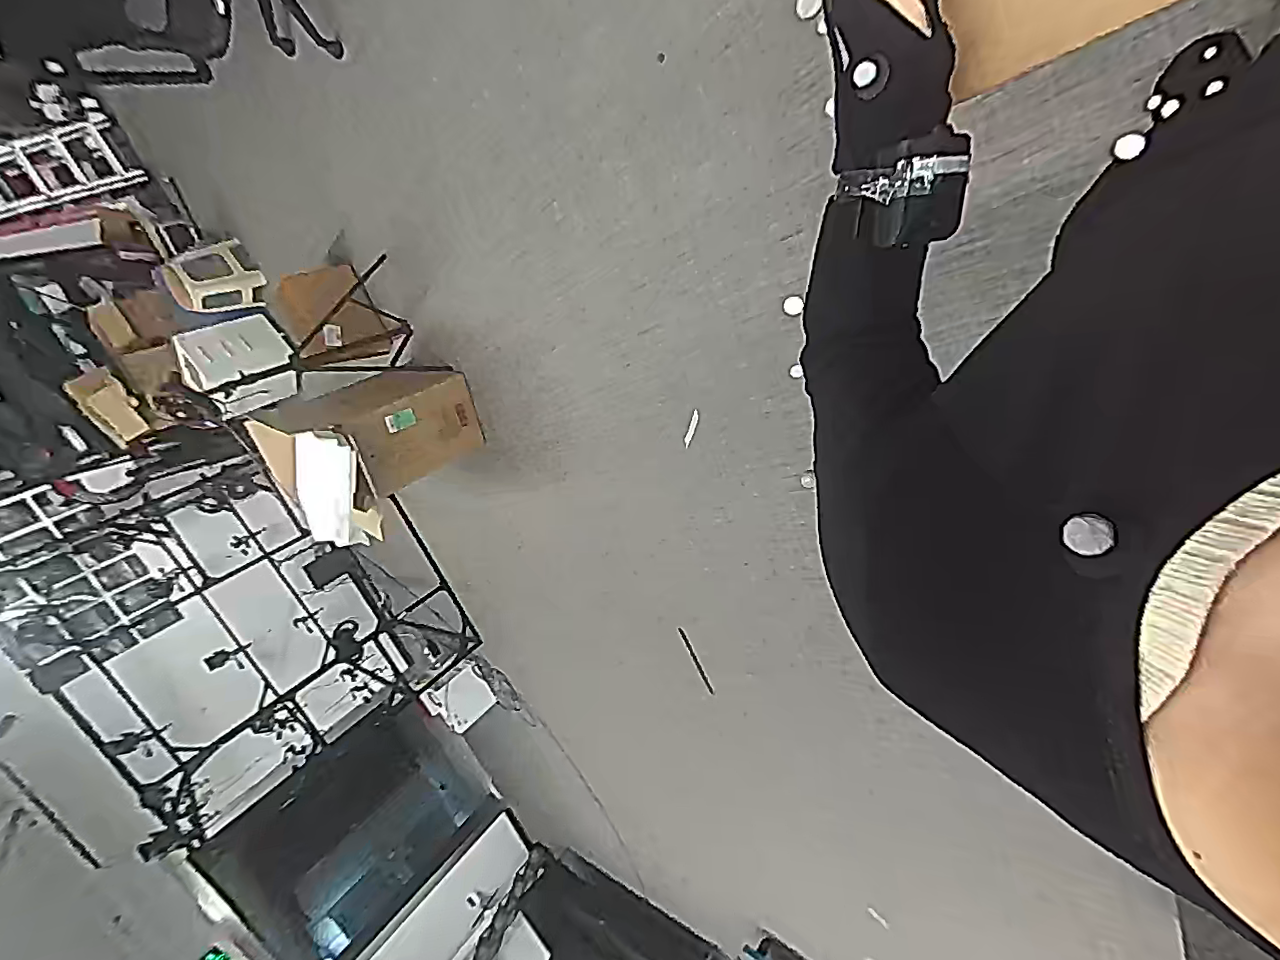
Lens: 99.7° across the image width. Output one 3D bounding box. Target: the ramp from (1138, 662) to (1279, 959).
[{"bbox_3d":[1.538,0.893,1.227,0.509,0.206,0.991,-11,110,49],"label":"ramp"}]
